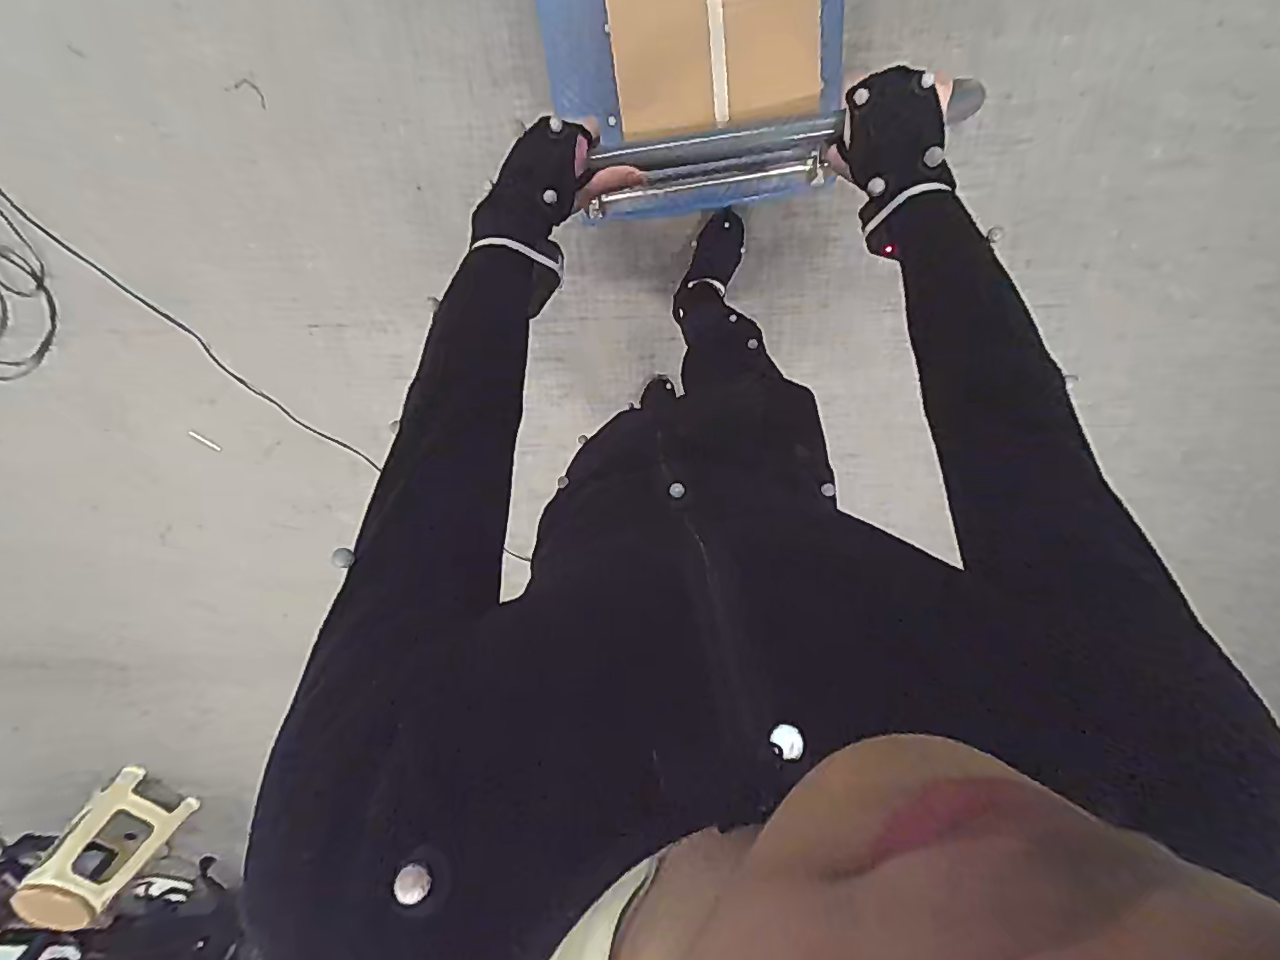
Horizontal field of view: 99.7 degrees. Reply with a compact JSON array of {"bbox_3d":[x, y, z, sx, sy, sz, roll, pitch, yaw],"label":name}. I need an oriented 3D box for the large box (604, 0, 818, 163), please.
[{"bbox_3d":[0.108,-0.811,0.925,0.320,0.320,0.408,-7,115,6],"label":"large box"}]
